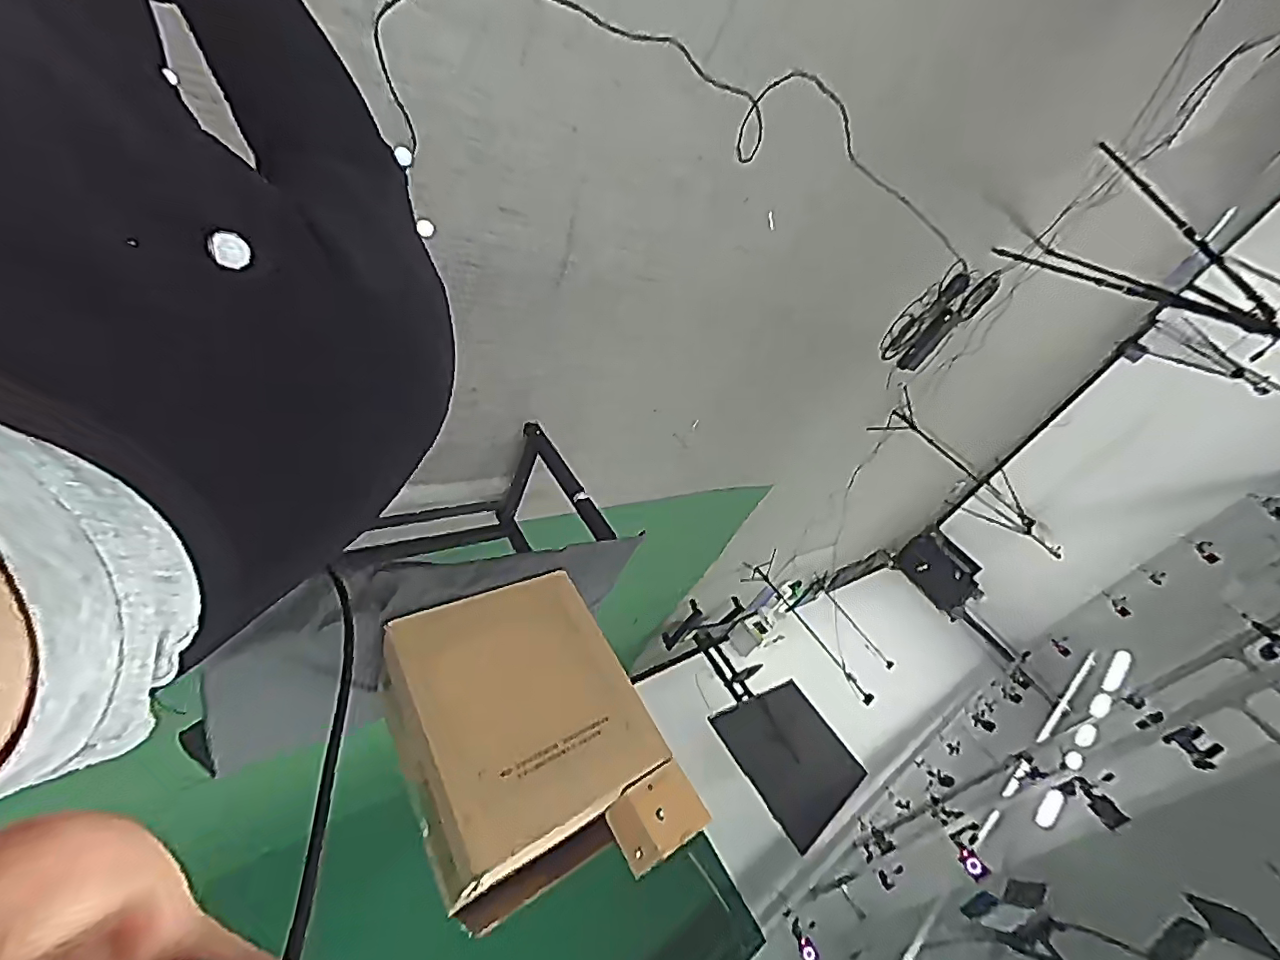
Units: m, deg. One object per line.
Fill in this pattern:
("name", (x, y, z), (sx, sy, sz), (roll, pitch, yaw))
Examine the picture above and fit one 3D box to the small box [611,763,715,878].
("small box", (0.050, 0.845, 1.357), (0.168, 0.176, 0.179), (-11, 142, -38))
